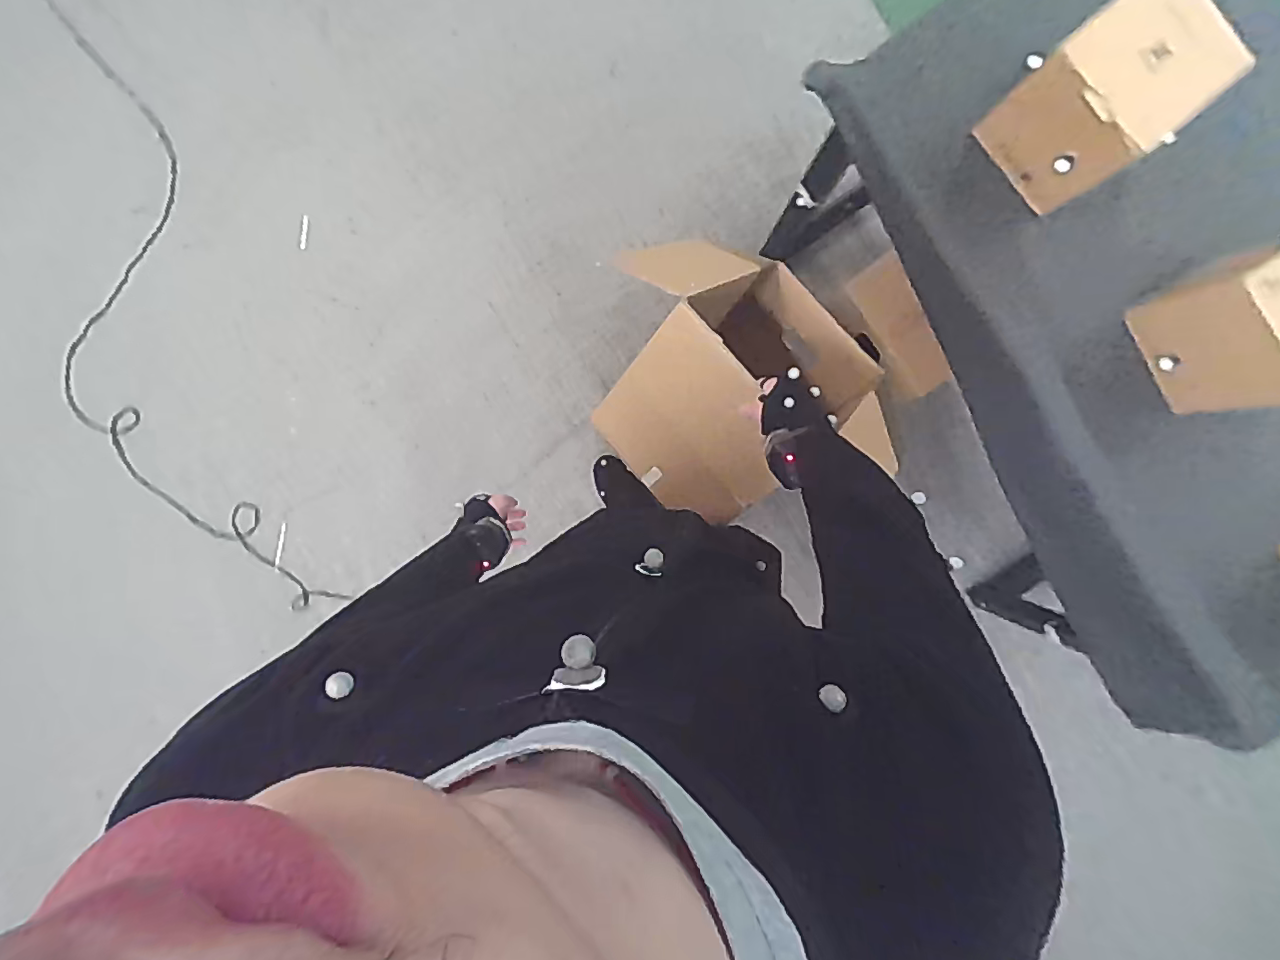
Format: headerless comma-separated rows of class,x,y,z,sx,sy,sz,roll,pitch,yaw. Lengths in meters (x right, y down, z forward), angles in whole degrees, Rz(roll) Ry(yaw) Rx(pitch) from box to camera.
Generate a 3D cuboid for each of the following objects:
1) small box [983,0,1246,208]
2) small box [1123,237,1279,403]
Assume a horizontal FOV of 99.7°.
small box,0.600,-0.506,0.717,0.179,0.176,0.168,-41,94,-1
small box,0.828,-0.215,0.730,0.168,0.176,0.179,-30,93,1
